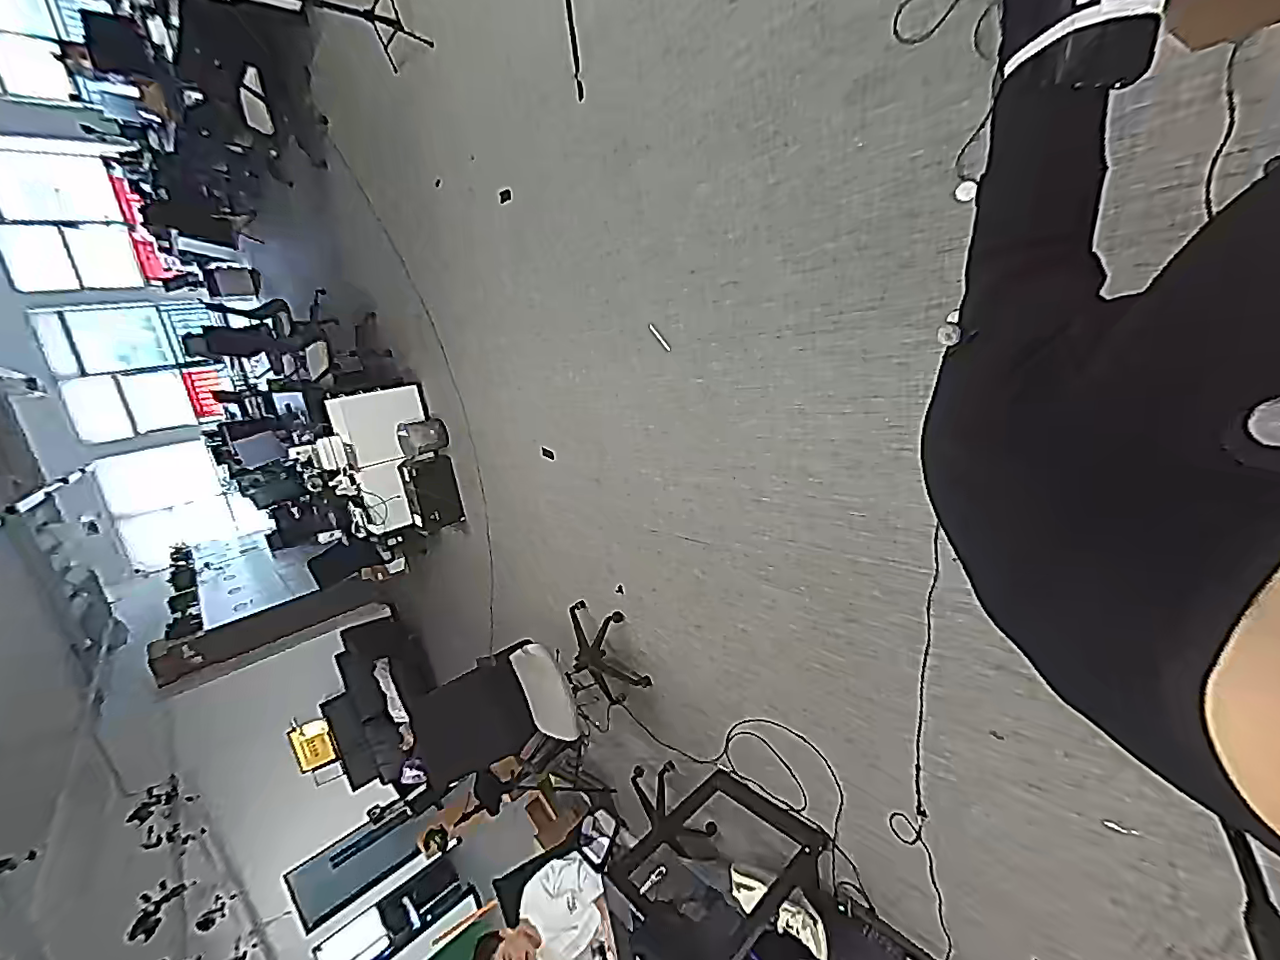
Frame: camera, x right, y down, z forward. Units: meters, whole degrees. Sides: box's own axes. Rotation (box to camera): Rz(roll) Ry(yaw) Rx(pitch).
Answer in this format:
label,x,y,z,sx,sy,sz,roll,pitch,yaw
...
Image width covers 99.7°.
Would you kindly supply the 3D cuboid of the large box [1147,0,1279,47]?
label,x,y,z,sx,sy,sz,roll,pitch,yaw
large box,0.533,-0.504,0.261,0.408,0.320,0.320,8,117,49
